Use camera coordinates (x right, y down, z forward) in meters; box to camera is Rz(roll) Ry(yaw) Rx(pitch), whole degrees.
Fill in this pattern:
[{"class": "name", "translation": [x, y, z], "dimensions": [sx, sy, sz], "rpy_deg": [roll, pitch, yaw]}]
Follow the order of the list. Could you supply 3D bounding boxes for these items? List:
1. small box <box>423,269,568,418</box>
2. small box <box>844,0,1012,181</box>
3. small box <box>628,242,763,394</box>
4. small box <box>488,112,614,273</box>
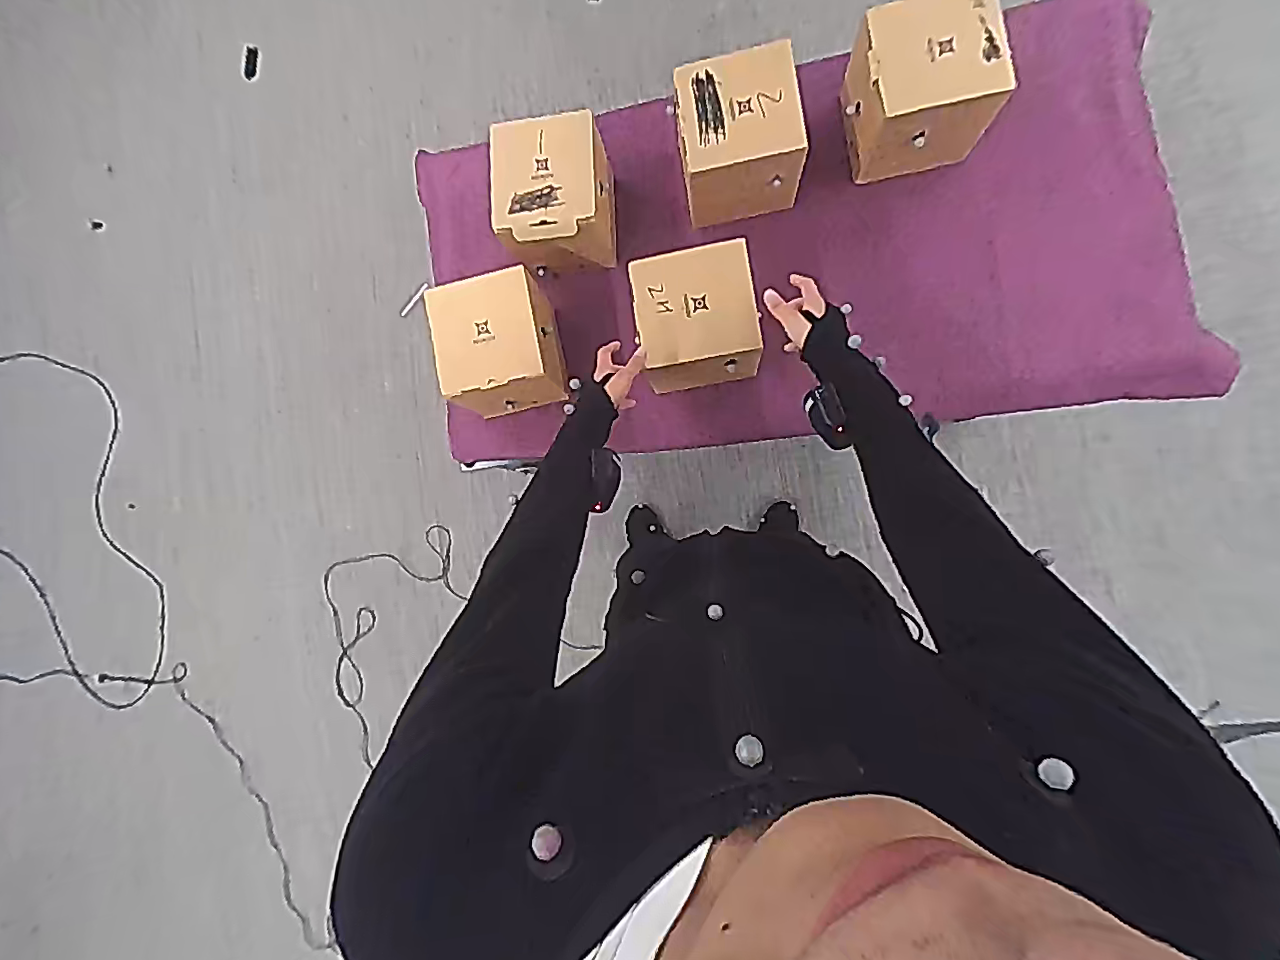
[{"class": "small box", "translation": [-0.230, -0.215, 0.896], "dimensions": [0.168, 0.176, 0.179], "rpy_deg": [-13, 85, 5]}, {"class": "small box", "translation": [0.420, -0.591, 0.822], "dimensions": [0.179, 0.176, 0.168], "rpy_deg": [-9, 88, 9]}, {"class": "small box", "translation": [0.088, -0.243, 0.852], "dimensions": [0.179, 0.176, 0.168], "rpy_deg": [-9, 85, 8]}, {"class": "small box", "translation": [-0.140, -0.461, 0.899], "dimensions": [0.168, 0.176, 0.179], "rpy_deg": [-3, 86, 8]}]
